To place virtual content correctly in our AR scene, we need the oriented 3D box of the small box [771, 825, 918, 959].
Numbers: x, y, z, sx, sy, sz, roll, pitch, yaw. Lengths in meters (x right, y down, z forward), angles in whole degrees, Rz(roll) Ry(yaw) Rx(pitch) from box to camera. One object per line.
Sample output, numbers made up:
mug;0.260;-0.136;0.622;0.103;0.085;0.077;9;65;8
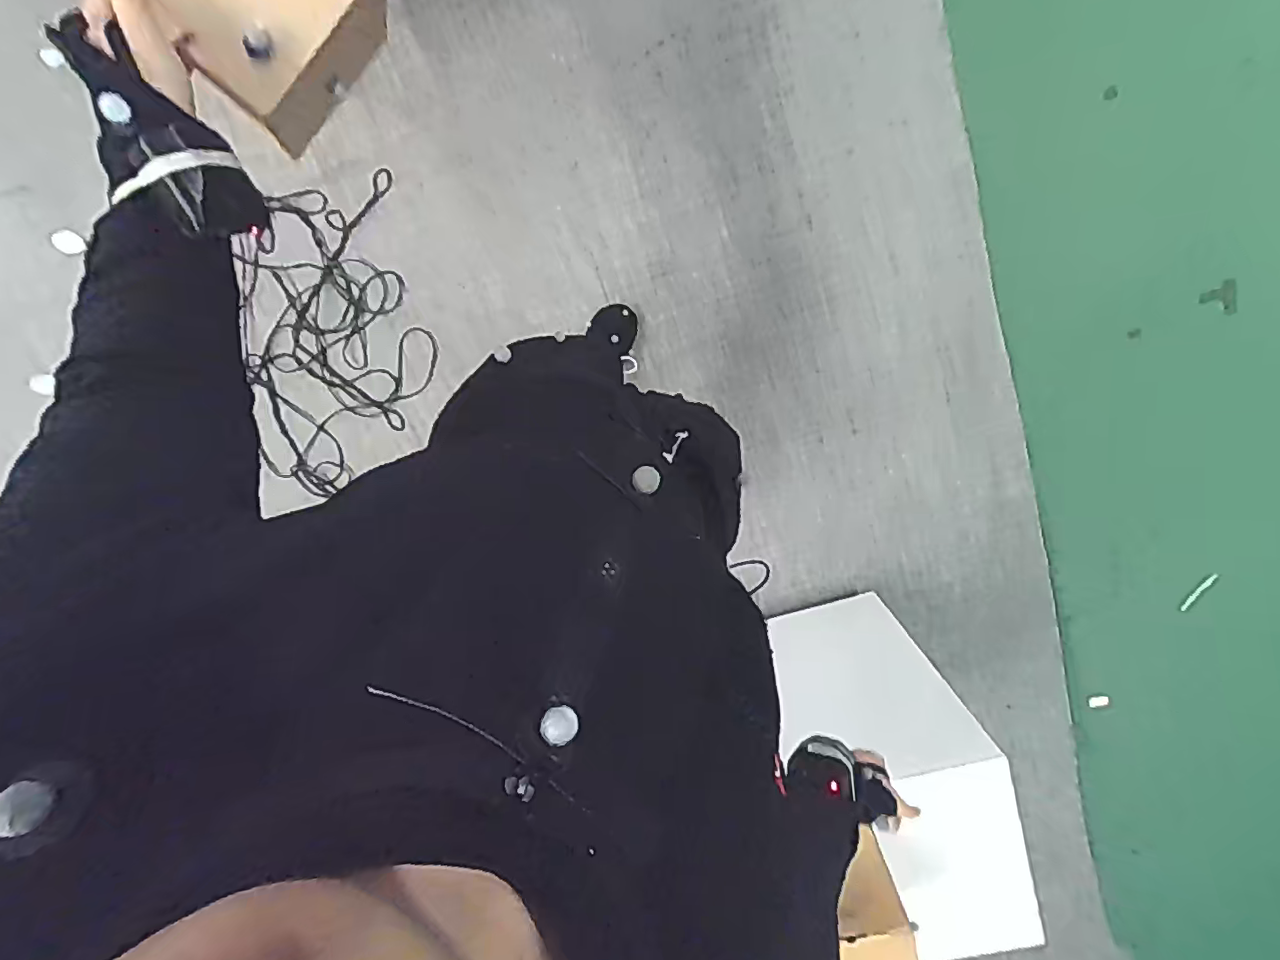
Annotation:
small box;0.309;0.673;0.825;0.168;0.176;0.179;-14;104;6
